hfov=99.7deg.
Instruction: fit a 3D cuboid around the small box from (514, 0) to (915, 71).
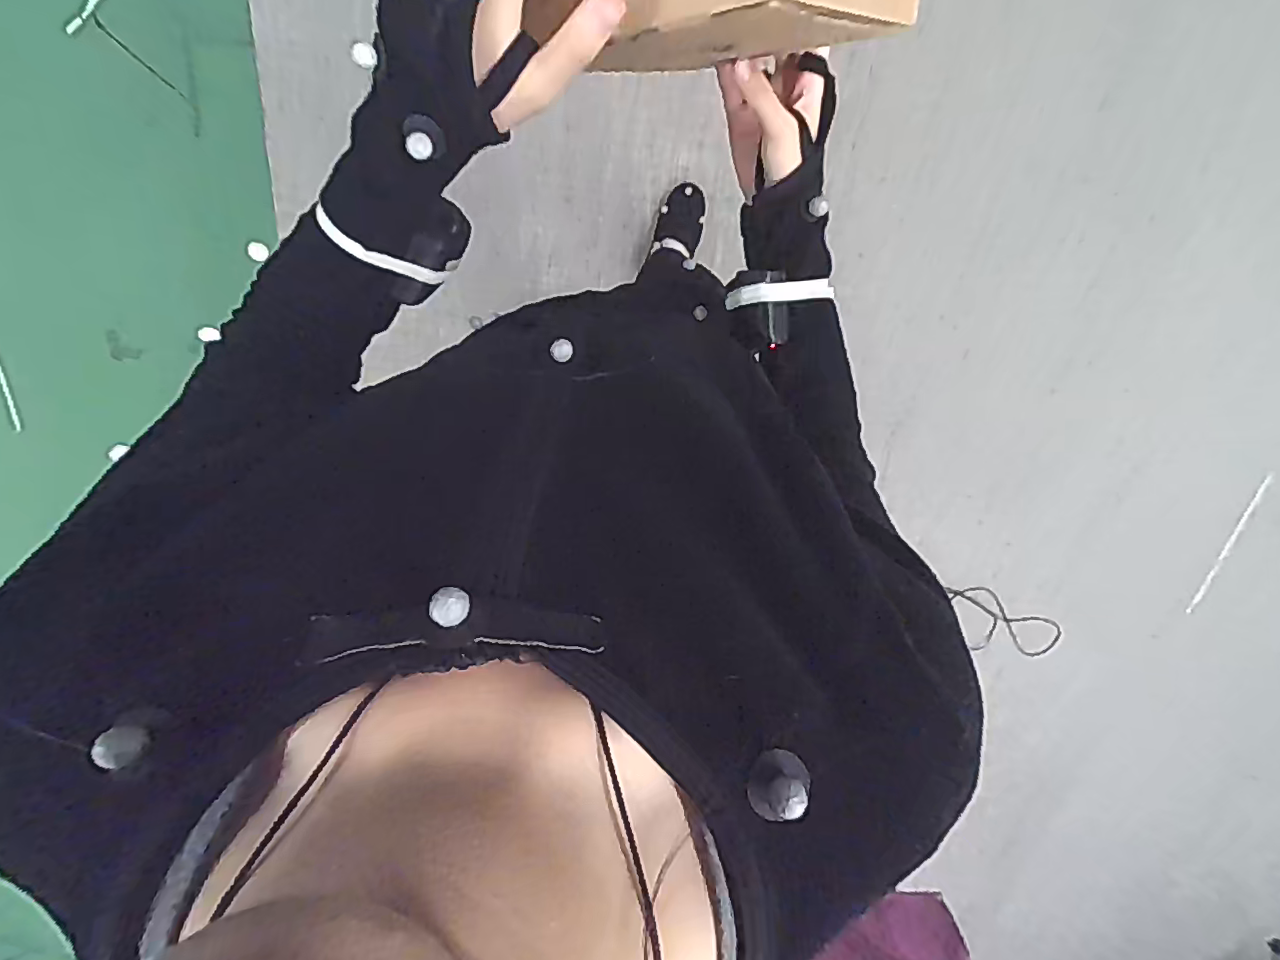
[{"bbox_3d":[0.040,-0.324,0.269,0.168,0.179,0.176,23,131,35],"label":"small box"}]
